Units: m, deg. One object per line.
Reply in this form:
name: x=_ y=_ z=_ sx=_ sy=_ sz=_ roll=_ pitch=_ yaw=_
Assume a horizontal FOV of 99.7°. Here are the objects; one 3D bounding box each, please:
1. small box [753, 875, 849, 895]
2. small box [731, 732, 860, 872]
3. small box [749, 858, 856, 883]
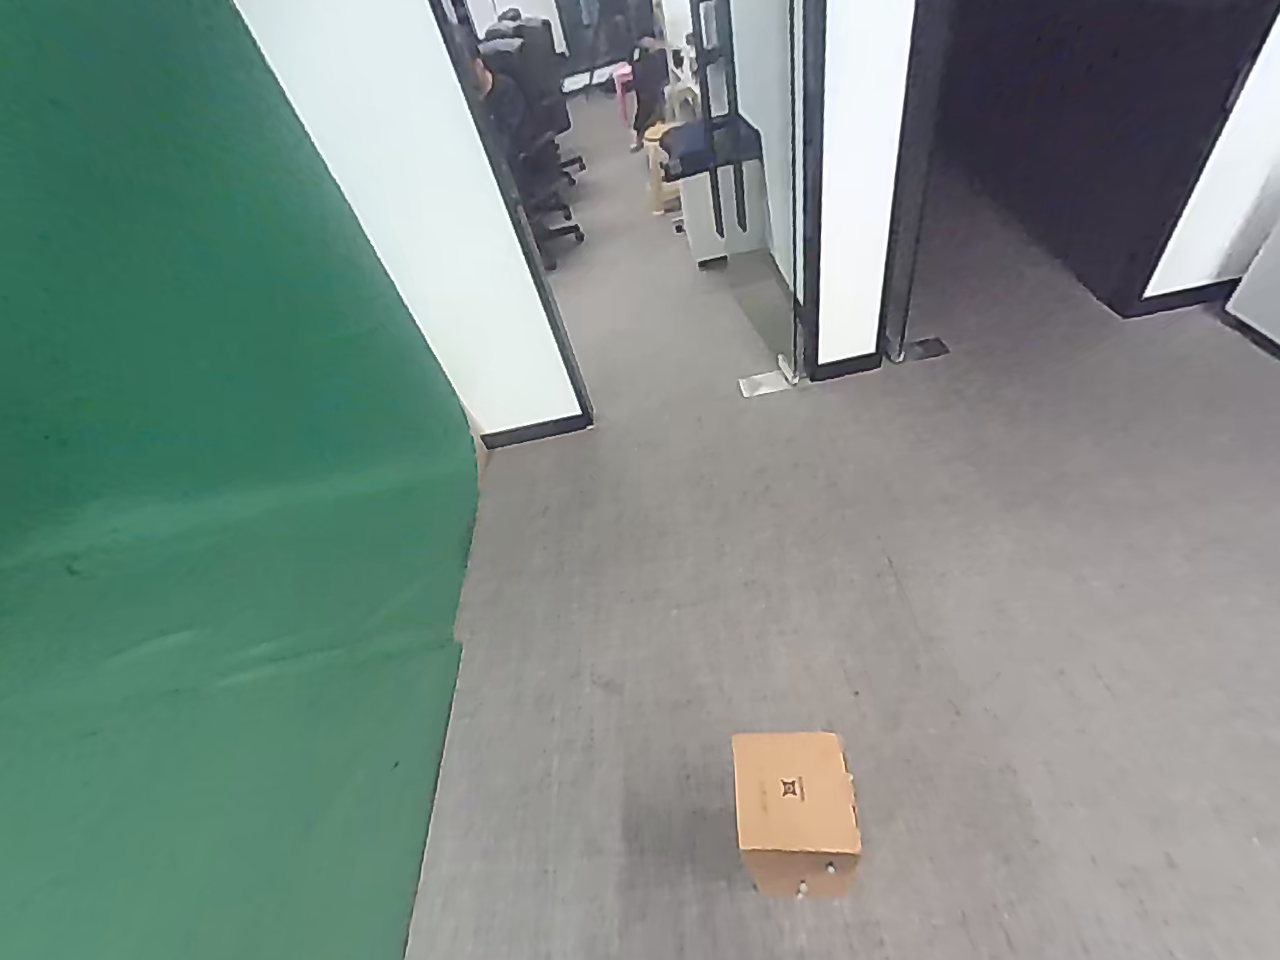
small box: x=0.323 y=0.746 z=1.121 sx=0.179 sy=0.176 sz=0.168 roll=-8 pitch=45 yaw=12
small box: x=0.249 y=0.530 z=0.889 sx=0.179 sy=0.176 sz=0.168 roll=-8 pitch=45 yaw=12
small box: x=0.287 y=0.639 z=1.007 sx=0.179 sy=0.176 sz=0.168 roll=-9 pitch=47 yaw=10
